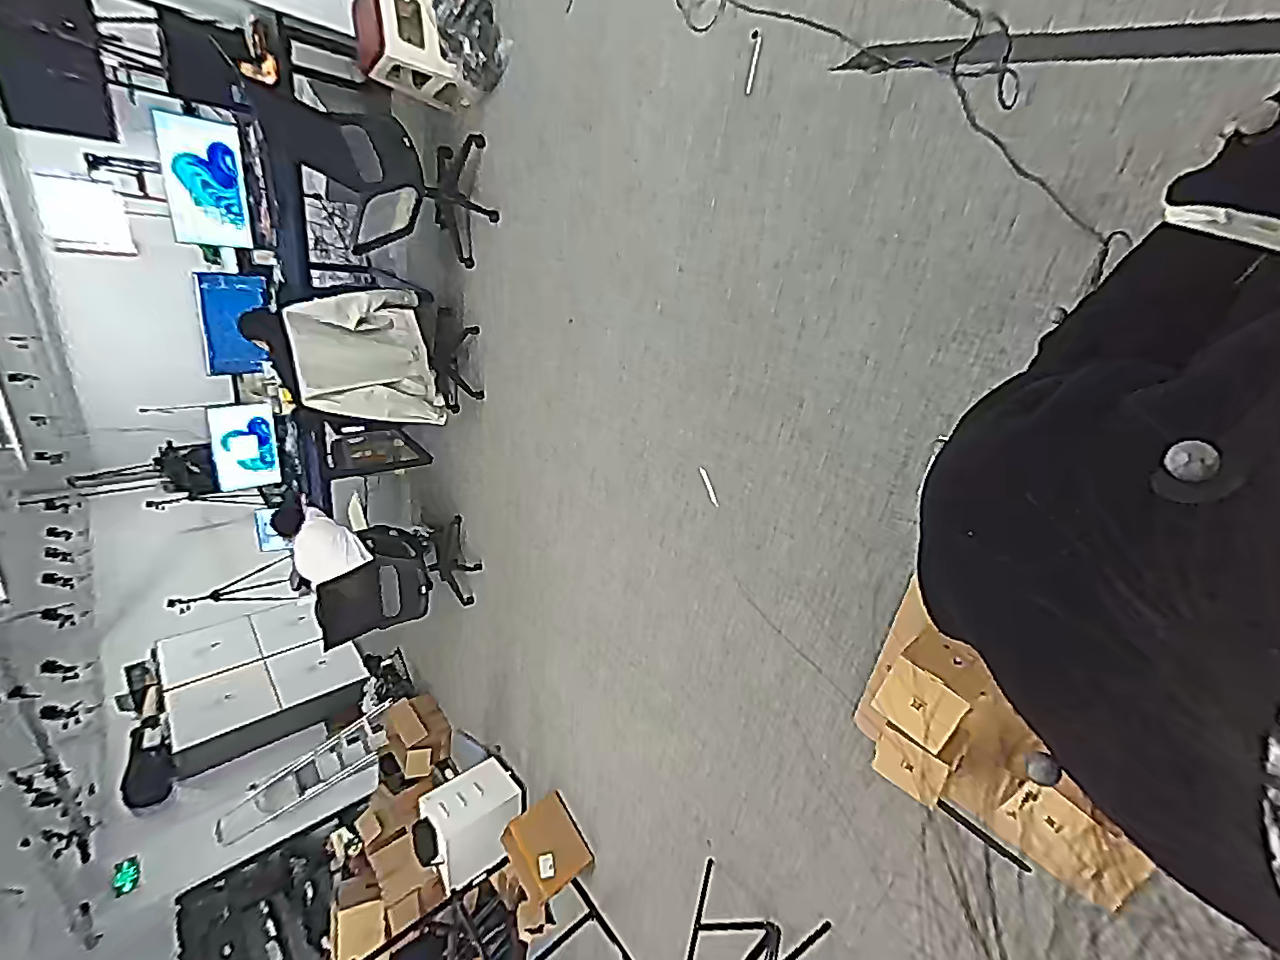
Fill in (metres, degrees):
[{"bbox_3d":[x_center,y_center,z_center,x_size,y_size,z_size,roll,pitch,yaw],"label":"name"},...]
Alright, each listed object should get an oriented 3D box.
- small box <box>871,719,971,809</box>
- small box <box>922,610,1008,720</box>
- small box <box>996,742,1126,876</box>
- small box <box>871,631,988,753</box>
[{"bbox_3d":[0.782,0.755,1.507,0.179,0.176,0.168,26,120,42],"label":"small box"},{"bbox_3d":[0.812,0.469,1.394,0.168,0.176,0.179,31,121,38],"label":"small box"},{"bbox_3d":[0.992,0.764,1.271,0.179,0.176,0.168,39,127,33],"label":"small box"},{"bbox_3d":[0.692,0.497,1.287,0.168,0.176,0.179,35,123,37],"label":"small box"}]
